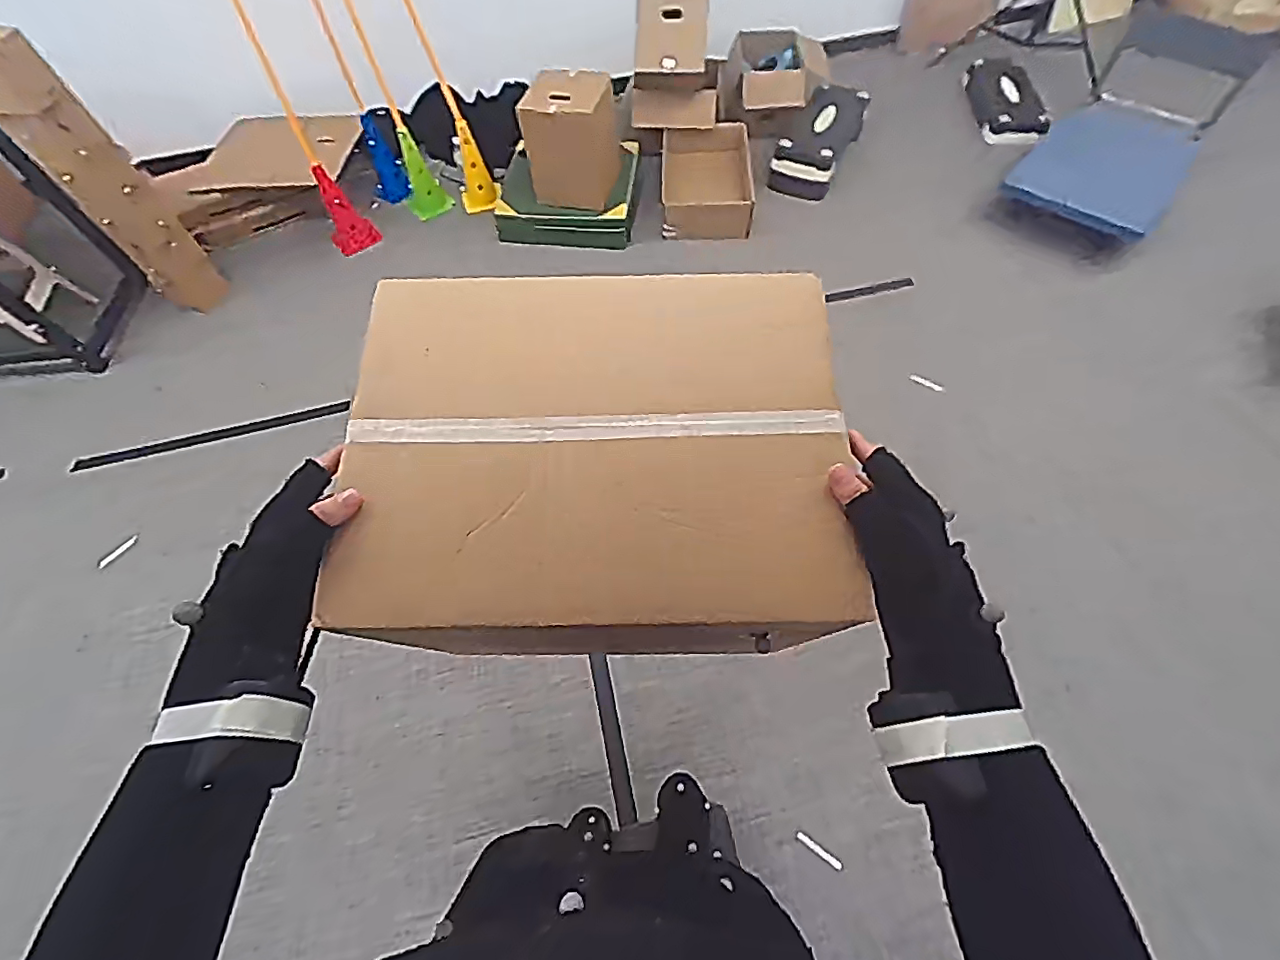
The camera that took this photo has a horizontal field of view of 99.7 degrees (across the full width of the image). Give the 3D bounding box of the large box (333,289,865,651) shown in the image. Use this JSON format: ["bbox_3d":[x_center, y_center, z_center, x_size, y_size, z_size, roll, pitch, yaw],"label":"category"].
[{"bbox_3d":[-0.030,0.018,0.590,0.408,0.320,0.320,0,68,0],"label":"large box"}]

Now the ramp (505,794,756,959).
[{"bbox_3d":[0.054,1.232,1.071,0.509,0.206,0.991,-13,61,-8],"label":"ramp"}]
